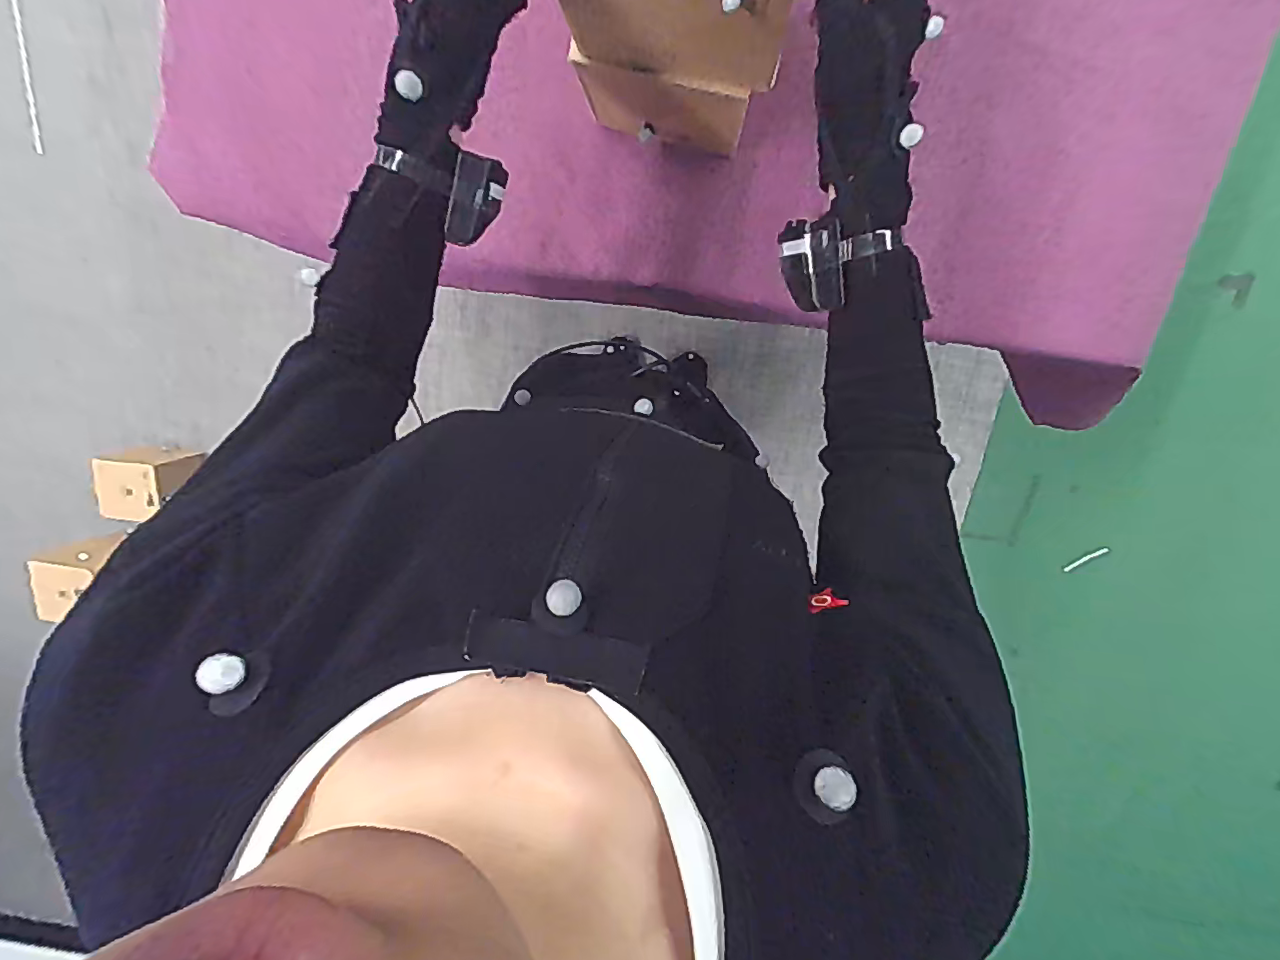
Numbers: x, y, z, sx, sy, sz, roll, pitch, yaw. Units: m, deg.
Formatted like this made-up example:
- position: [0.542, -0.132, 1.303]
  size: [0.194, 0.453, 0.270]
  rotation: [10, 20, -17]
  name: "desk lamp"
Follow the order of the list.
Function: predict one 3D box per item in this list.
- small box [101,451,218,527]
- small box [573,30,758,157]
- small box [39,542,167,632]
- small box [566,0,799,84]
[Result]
- position: [-1.343, 0.018, 1.522]
  size: [0.179, 0.176, 0.168]
  rotation: [6, 106, 4]
  name: "small box"
- position: [0.045, -0.449, 0.525]
  size: [0.168, 0.176, 0.179]
  rotation: [14, 106, 2]
  name: "small box"
- position: [-1.400, 0.275, 1.427]
  size: [0.179, 0.176, 0.168]
  rotation: [8, 106, 3]
  name: "small box"
- position: [0.038, -0.408, 0.368]
  size: [0.179, 0.176, 0.168]
  rotation: [12, 106, 2]
  name: "small box"
